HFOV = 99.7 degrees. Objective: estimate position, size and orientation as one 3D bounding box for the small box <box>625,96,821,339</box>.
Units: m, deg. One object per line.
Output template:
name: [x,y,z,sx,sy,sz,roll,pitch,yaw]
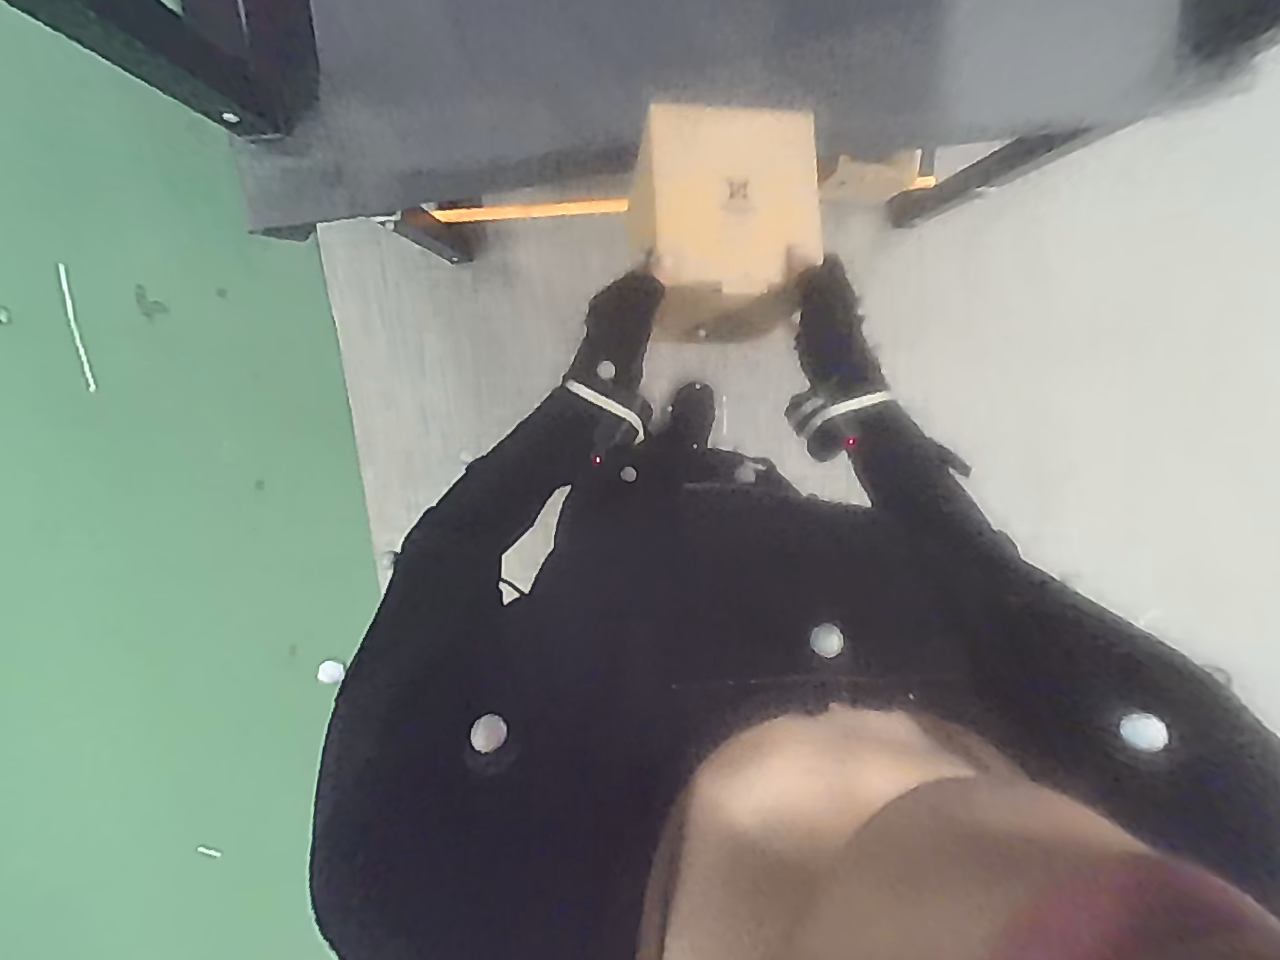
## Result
small box: [0.076,-0.266,0.584,0.168,0.176,0.179,-2,86,-8]
